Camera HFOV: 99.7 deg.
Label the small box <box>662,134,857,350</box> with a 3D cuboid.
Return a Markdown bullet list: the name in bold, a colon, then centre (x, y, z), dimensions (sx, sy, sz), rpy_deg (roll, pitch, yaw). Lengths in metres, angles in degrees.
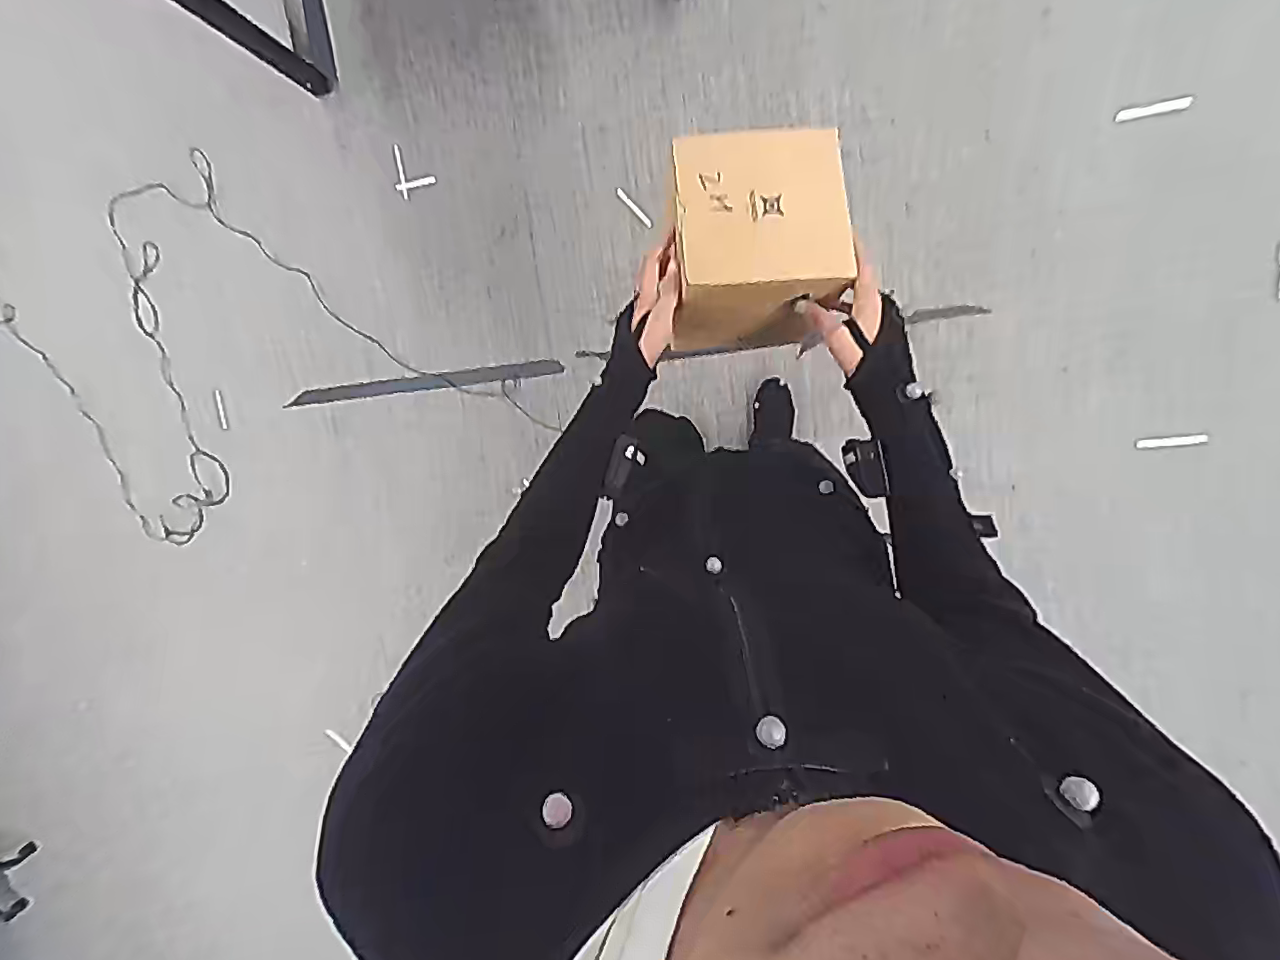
- **small box**: centre (0.122, -0.260, 0.623), dimensions (0.179, 0.176, 0.168), rpy_deg (-4, 82, -2)
